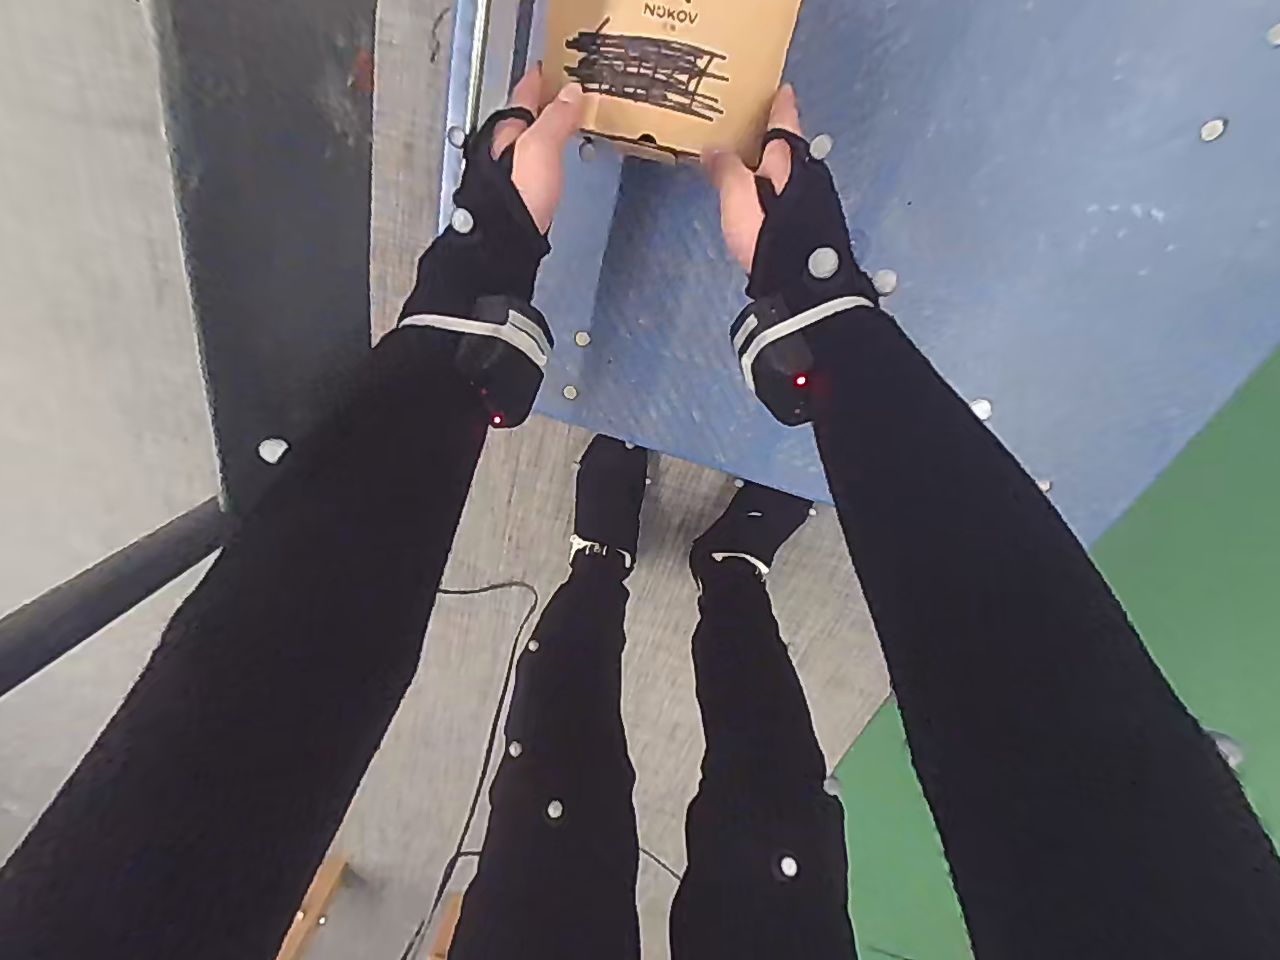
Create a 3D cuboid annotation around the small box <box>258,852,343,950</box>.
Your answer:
[{"bbox_3d":[-1.046,1.290,1.659,0.168,0.176,0.179,26,117,-9],"label":"small box"}]

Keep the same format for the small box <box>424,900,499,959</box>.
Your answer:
[{"bbox_3d":[-0.561,1.451,1.681,0.179,0.176,0.168,22,118,-4],"label":"small box"}]

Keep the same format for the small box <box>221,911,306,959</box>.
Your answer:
[{"bbox_3d":[-1.073,1.365,1.520,0.168,0.176,0.179,23,118,-4],"label":"small box"}]
